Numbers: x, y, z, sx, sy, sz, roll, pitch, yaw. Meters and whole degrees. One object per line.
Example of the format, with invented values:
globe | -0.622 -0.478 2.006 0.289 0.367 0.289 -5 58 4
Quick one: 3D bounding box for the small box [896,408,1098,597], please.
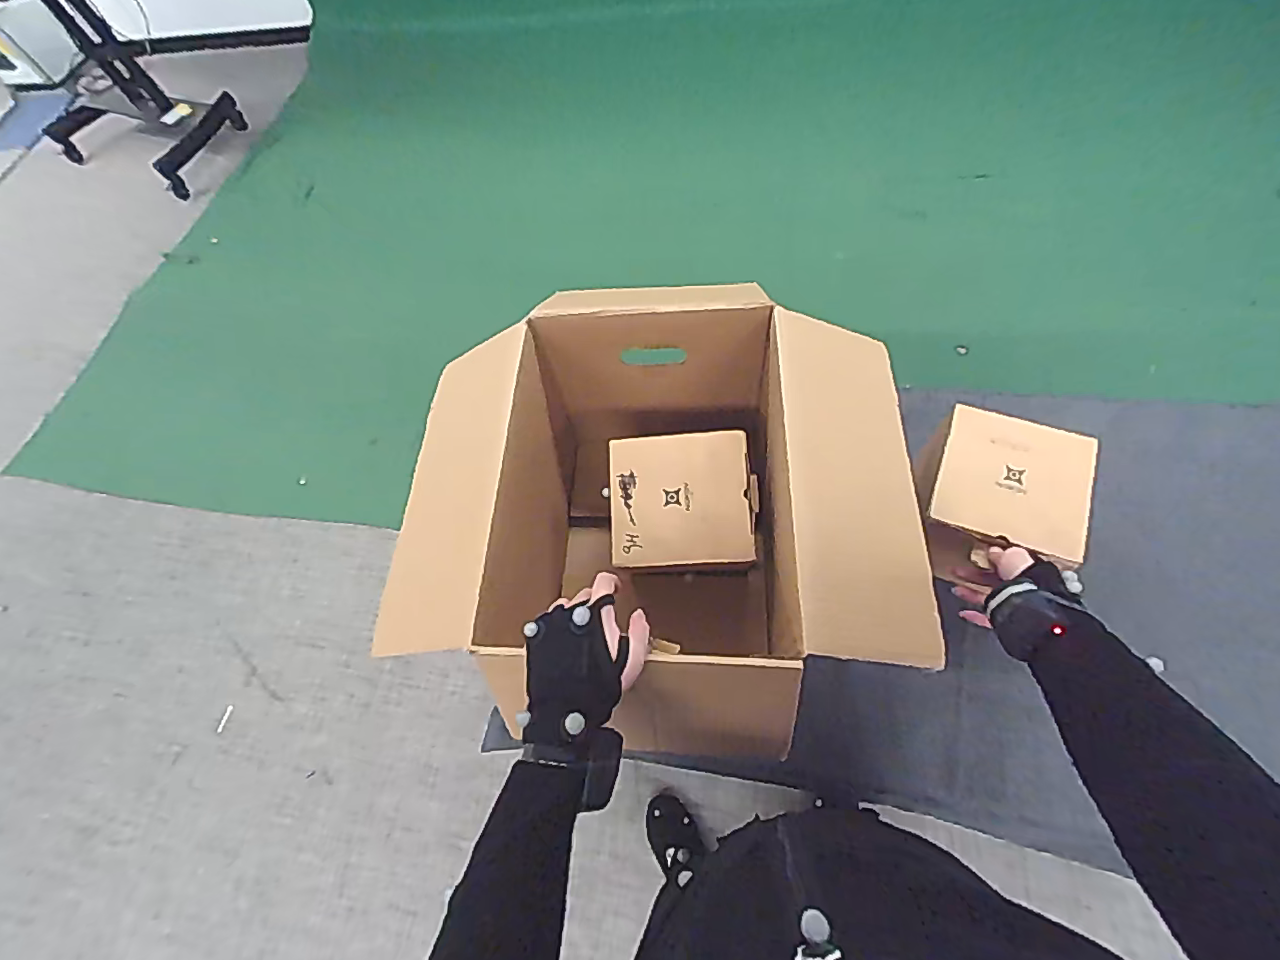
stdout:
small box | 0.467 0.038 0.731 0.168 0.176 0.179 19 67 15
